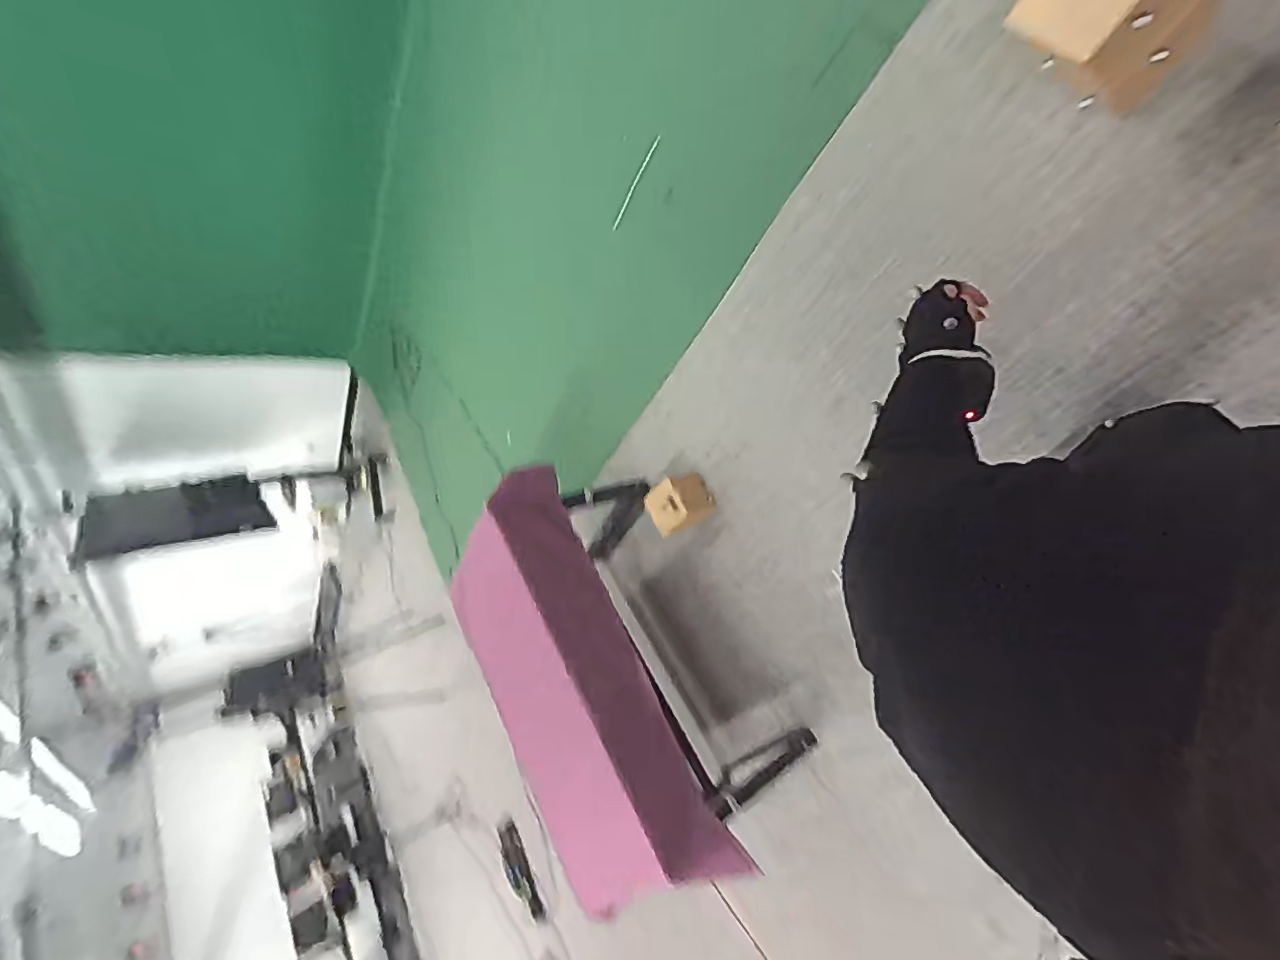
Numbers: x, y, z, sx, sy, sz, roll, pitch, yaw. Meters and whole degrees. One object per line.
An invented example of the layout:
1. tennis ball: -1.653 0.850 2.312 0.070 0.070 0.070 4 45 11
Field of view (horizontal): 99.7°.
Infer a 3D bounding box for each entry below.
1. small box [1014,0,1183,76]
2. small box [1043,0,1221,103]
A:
1. small box: 0.778 -0.816 0.891 0.168 0.176 0.179 57 135 22
2. small box: 0.904 -0.841 0.994 0.168 0.176 0.179 59 136 22
